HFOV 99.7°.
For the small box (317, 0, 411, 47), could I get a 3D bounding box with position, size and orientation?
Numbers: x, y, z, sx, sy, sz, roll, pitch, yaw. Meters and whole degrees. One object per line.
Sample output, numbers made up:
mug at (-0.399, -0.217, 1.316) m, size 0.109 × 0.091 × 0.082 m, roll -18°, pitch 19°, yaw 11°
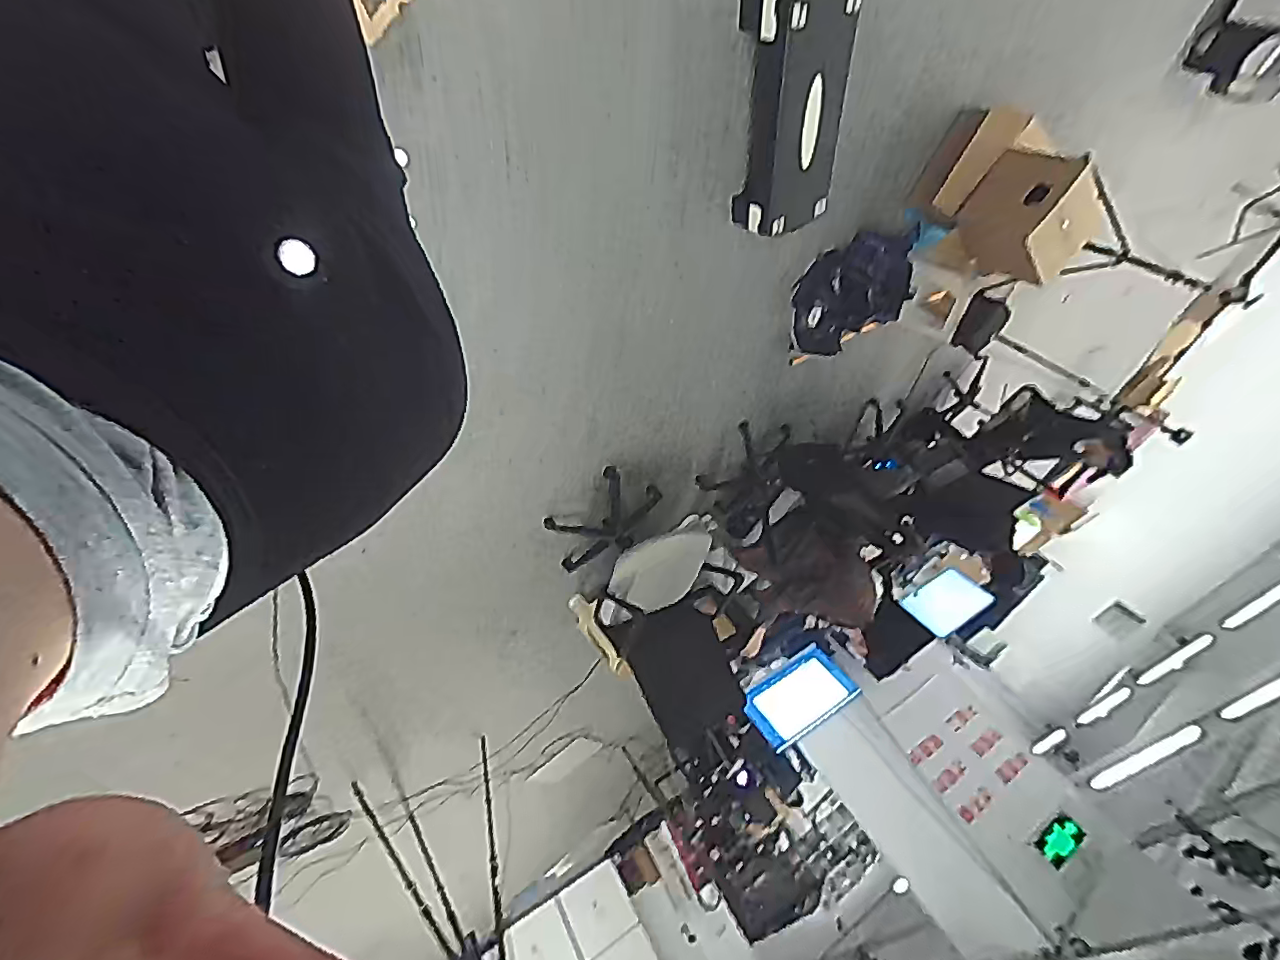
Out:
small box at (-0.486, -0.872, 0.889) m, size 0.168 × 0.176 × 0.179 m, roll -45°, pitch 144°, yaw 5°
